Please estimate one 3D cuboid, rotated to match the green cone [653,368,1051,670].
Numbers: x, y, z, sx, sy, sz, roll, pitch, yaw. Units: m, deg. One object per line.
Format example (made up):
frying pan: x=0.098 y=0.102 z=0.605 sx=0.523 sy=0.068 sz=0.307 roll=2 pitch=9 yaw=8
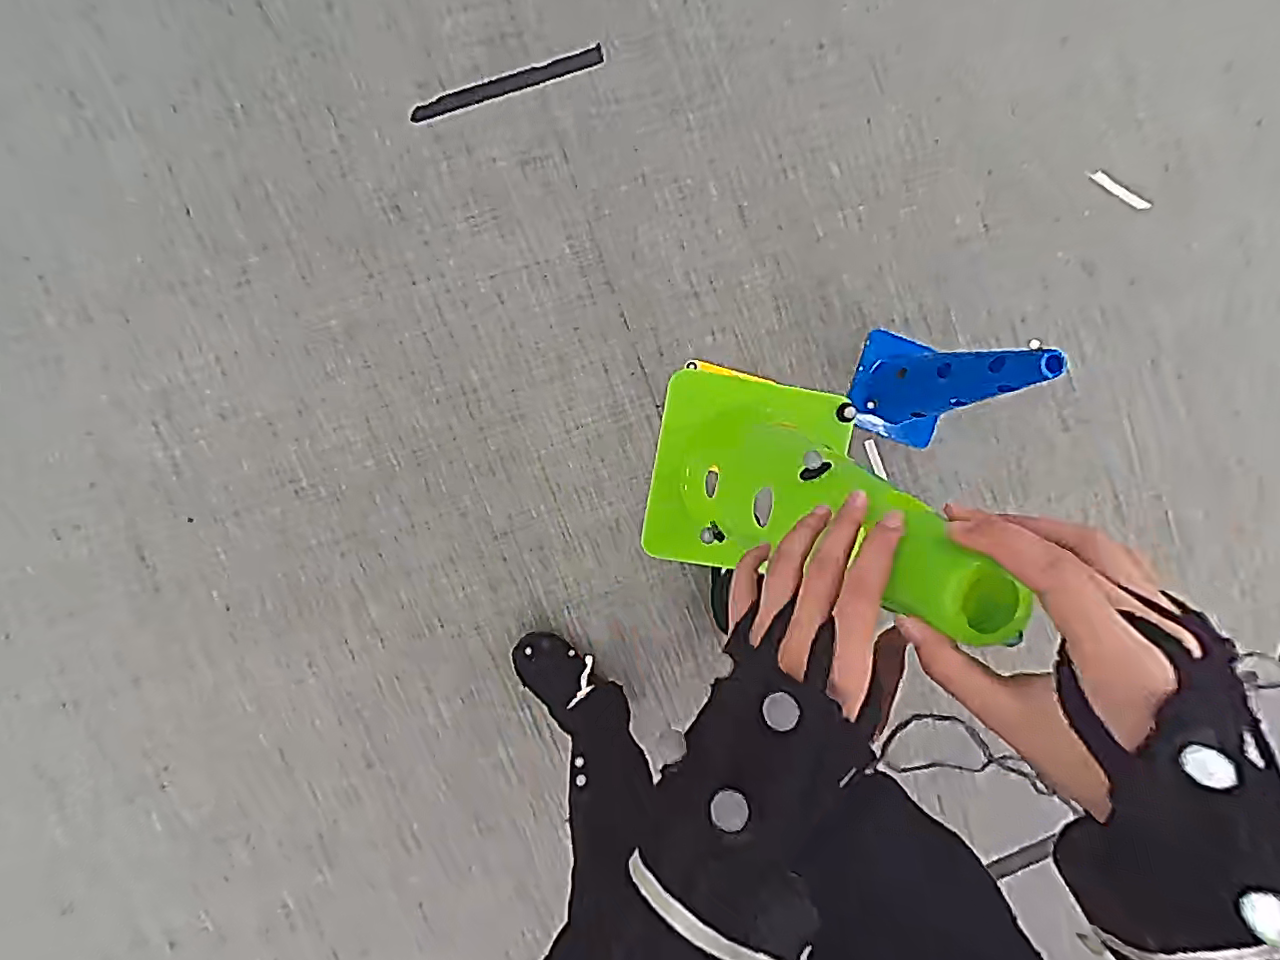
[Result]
green cone: x=0.135 y=0.025 z=0.395 sx=0.200 sy=0.368 sz=0.202 roll=9 pitch=99 yaw=-5
